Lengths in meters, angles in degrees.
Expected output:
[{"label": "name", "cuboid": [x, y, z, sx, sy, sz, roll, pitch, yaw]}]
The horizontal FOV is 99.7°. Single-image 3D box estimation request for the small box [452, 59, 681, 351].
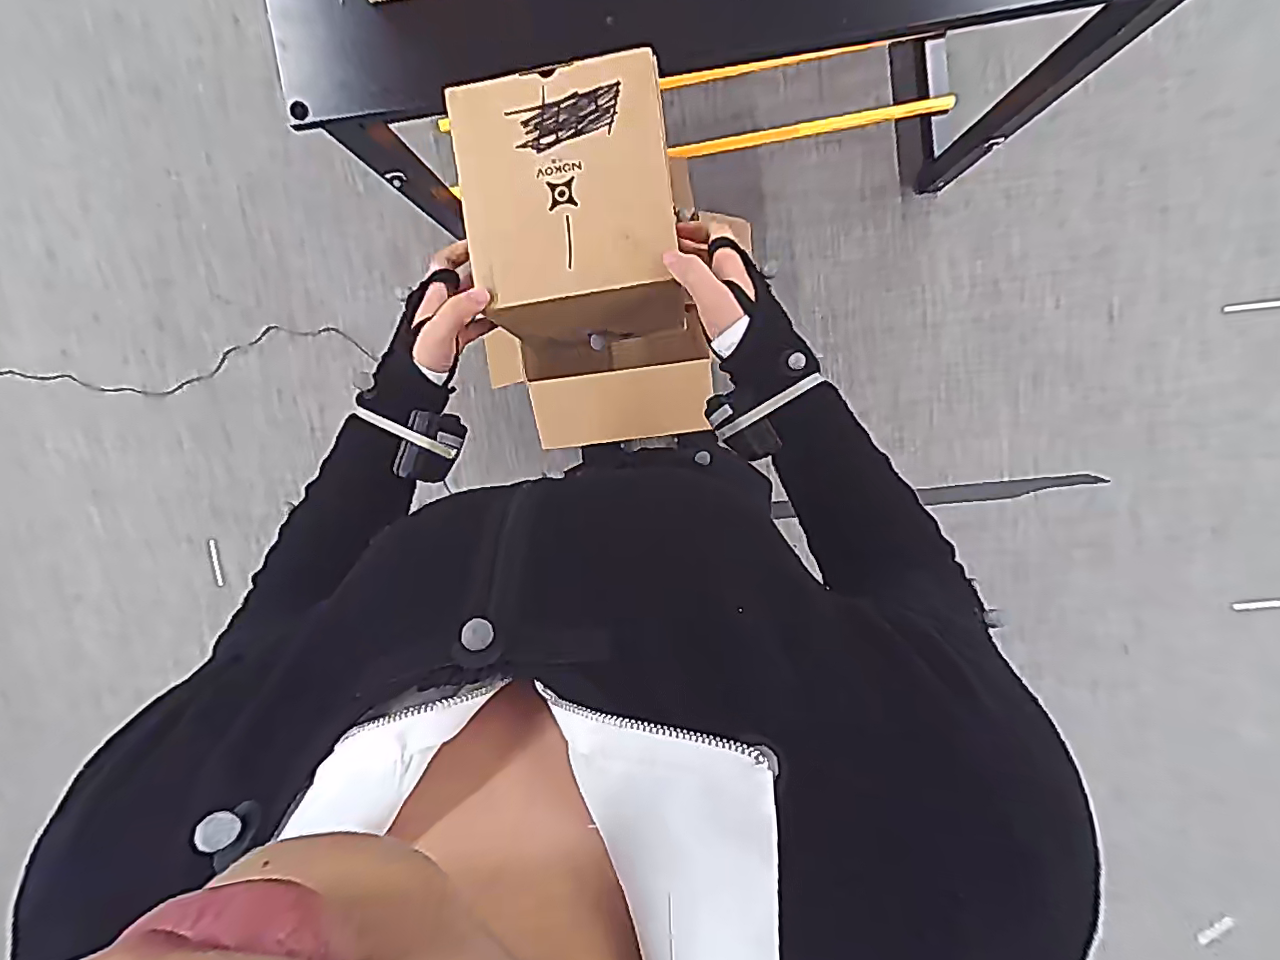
[{"label": "small box", "cuboid": [-0.053, -0.233, 0.504, 0.168, 0.176, 0.179, -7, 92, 6]}]
